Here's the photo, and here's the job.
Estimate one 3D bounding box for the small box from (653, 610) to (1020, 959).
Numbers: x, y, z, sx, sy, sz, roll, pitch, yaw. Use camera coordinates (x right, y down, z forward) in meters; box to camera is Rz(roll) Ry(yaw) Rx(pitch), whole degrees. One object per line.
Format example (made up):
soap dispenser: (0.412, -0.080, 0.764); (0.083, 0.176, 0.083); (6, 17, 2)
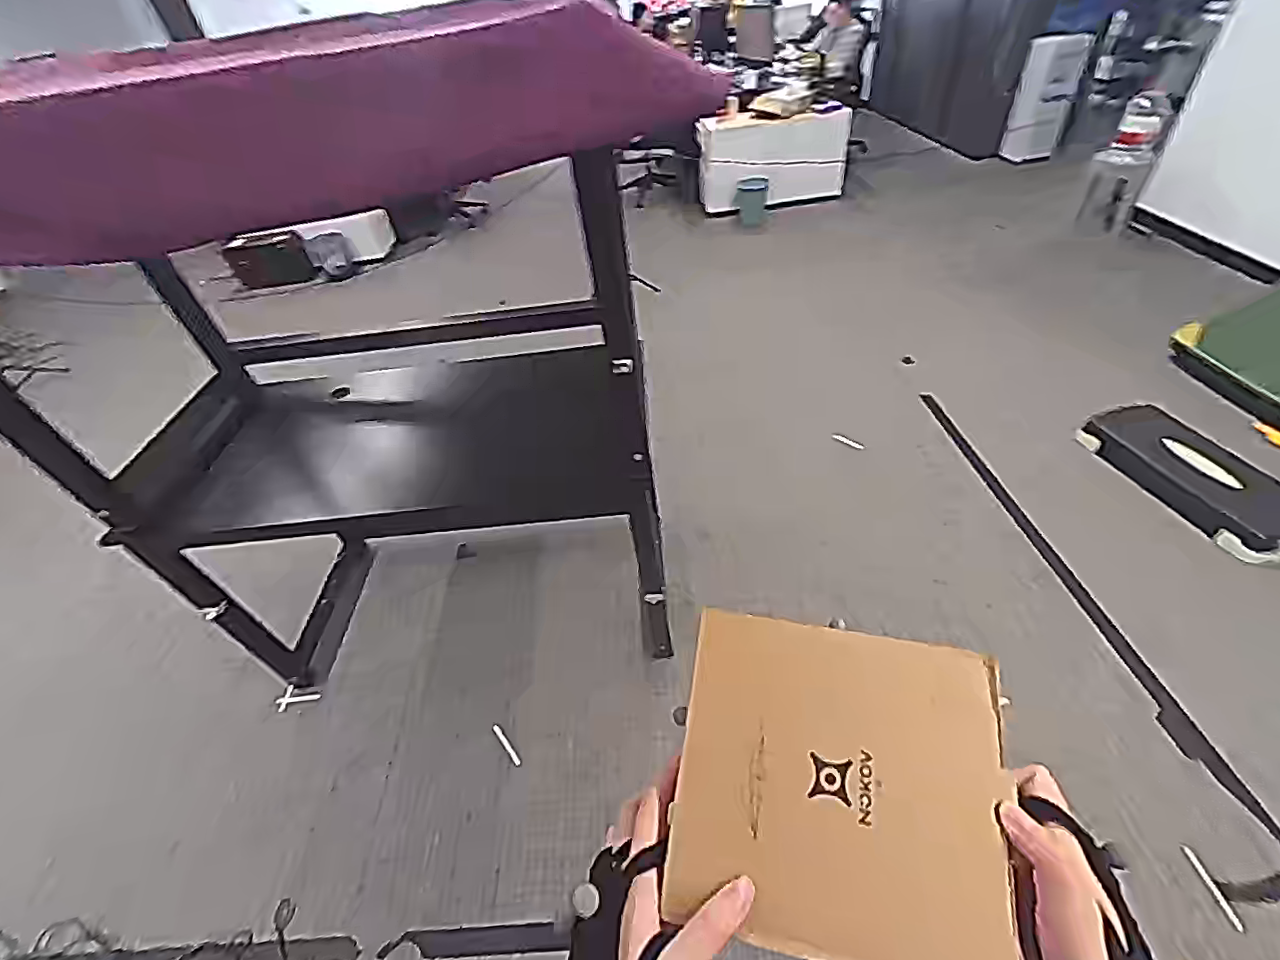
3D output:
small box: (0.114, 0.198, 0.364); (0.179, 0.176, 0.168); (7, 65, 11)
